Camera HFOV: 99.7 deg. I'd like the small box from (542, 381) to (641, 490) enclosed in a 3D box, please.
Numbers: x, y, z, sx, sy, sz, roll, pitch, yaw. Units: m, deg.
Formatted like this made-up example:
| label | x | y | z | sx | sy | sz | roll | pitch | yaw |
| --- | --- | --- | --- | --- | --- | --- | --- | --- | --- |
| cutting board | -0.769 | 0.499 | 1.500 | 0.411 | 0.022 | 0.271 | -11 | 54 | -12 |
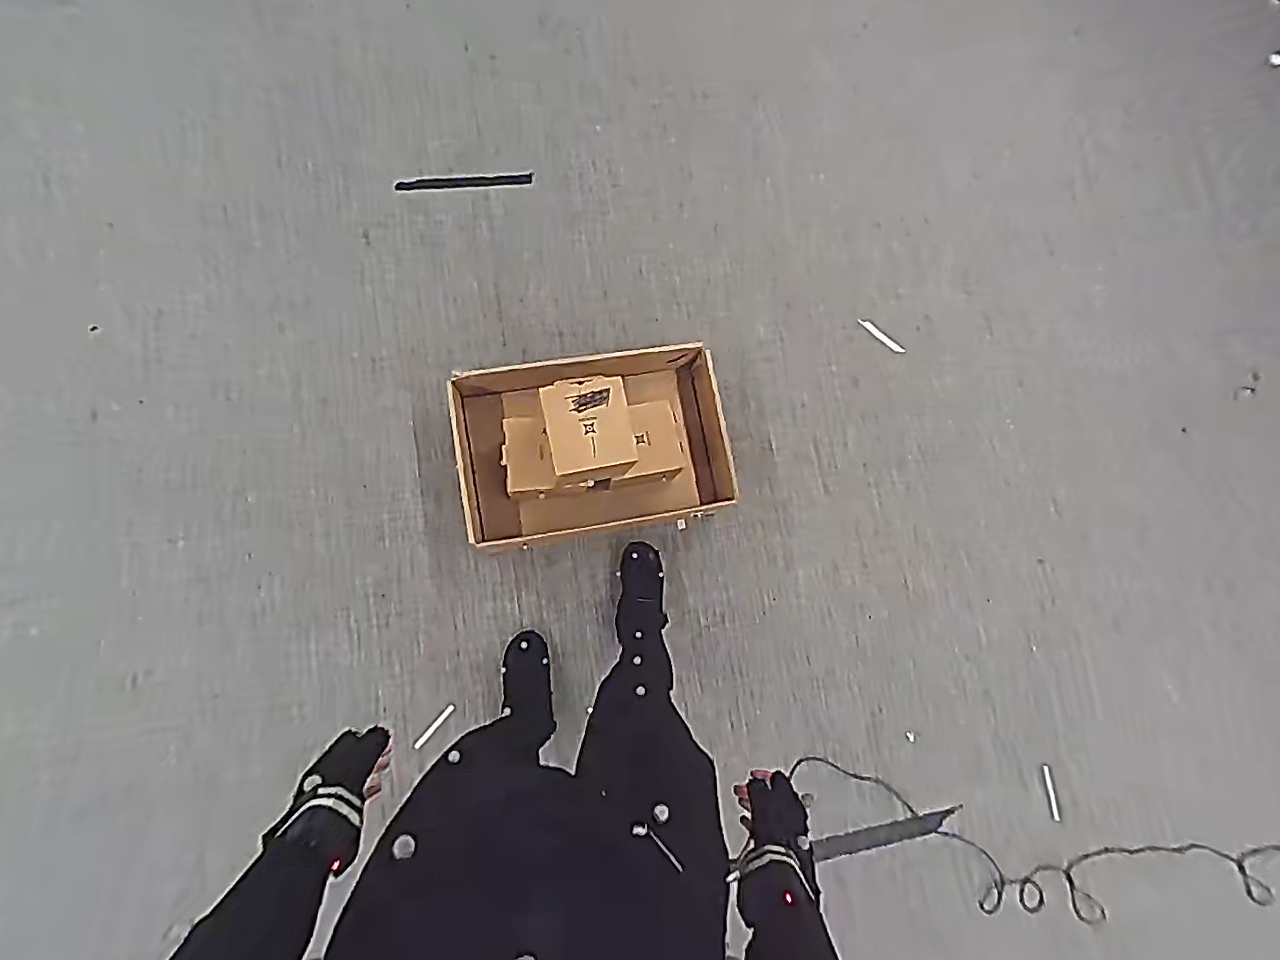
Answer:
| label | x | y | z | sx | sy | sz | roll | pitch | yaw |
| --- | --- | --- | --- | --- | --- | --- | --- | --- | --- |
| small box | -0.108 | -0.088 | 1.123 | 0.168 | 0.176 | 0.179 | -11 | 83 | -13 |
